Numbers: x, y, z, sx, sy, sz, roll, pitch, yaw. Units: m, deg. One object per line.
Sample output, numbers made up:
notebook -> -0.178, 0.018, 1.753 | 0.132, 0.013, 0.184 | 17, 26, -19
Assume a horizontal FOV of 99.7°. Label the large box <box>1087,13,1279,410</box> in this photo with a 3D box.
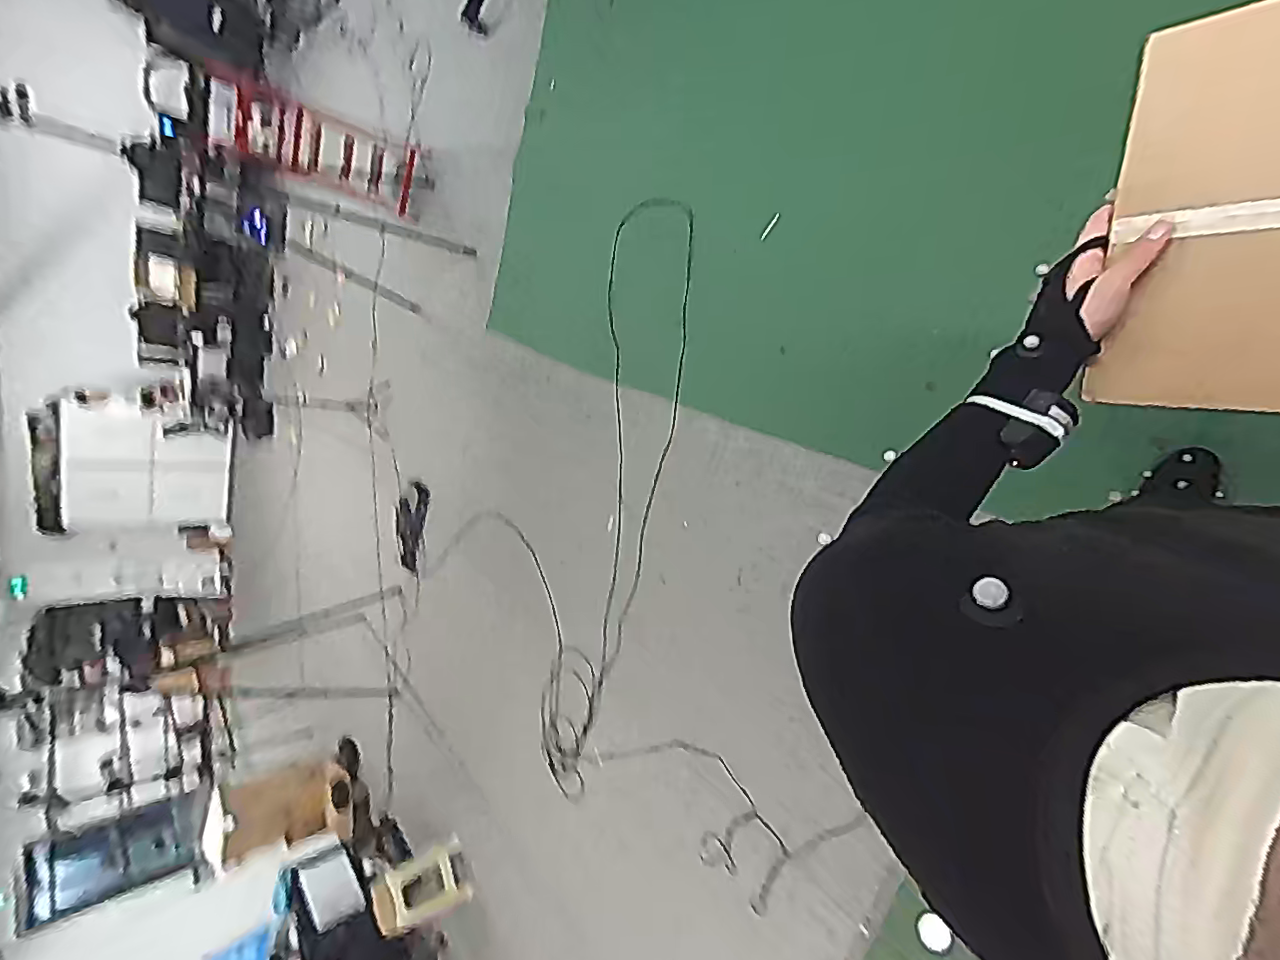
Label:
large box -> 0.688, -0.221, 0.481 | 0.408, 0.320, 0.320 | 11, 106, 43
